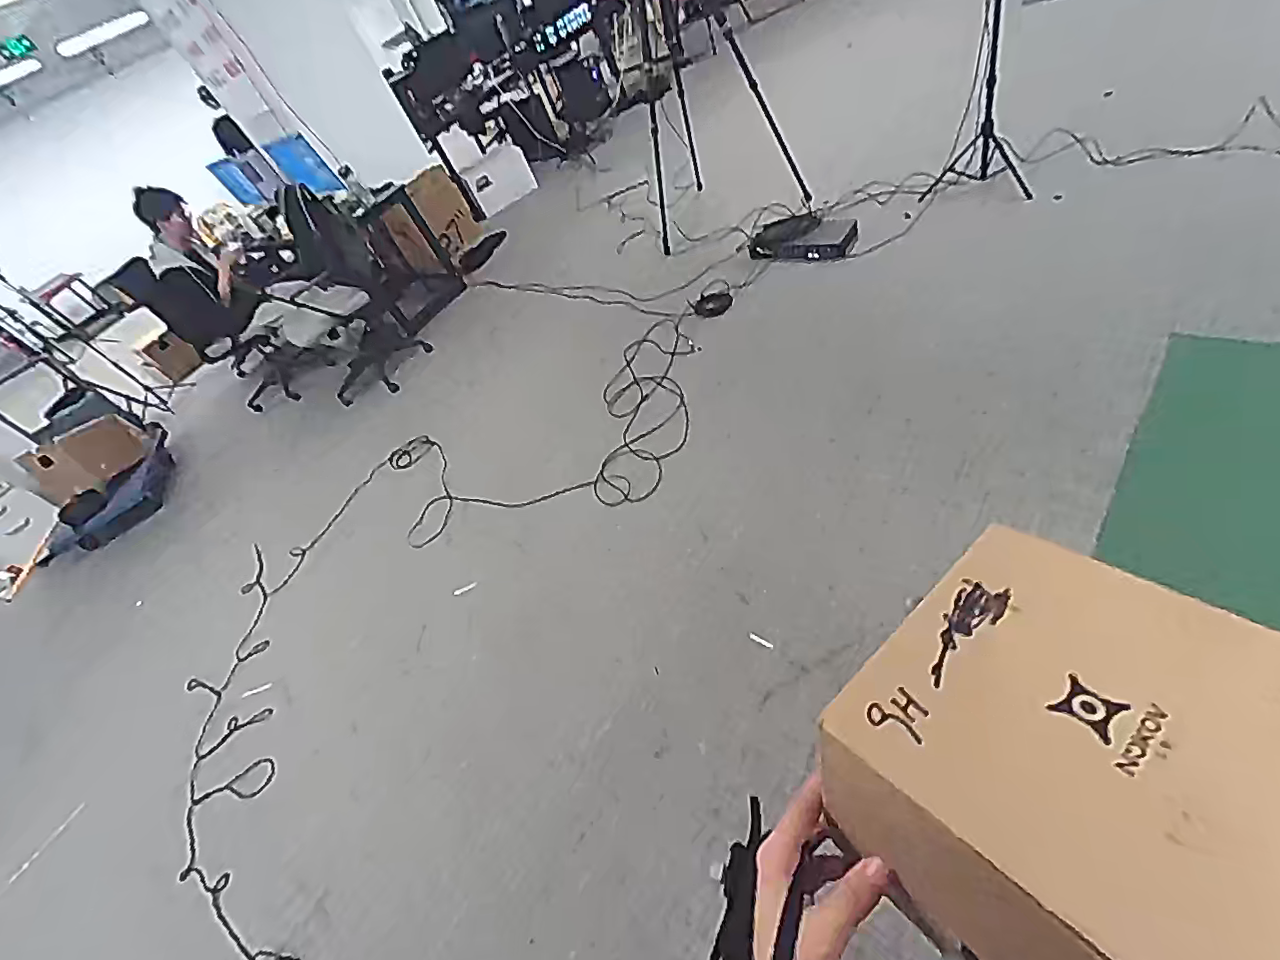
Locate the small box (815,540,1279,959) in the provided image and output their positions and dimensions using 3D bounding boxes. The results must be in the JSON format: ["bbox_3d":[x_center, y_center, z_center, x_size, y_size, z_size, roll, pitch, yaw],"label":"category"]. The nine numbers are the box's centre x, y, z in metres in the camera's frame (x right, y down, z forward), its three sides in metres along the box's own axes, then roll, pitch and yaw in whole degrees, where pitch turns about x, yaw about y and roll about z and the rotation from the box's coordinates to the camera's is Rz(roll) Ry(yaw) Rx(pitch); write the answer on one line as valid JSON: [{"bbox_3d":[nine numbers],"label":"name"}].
[{"bbox_3d":[0.216,0.170,0.277,0.168,0.176,0.179,-35,40,-20],"label":"small box"}]
